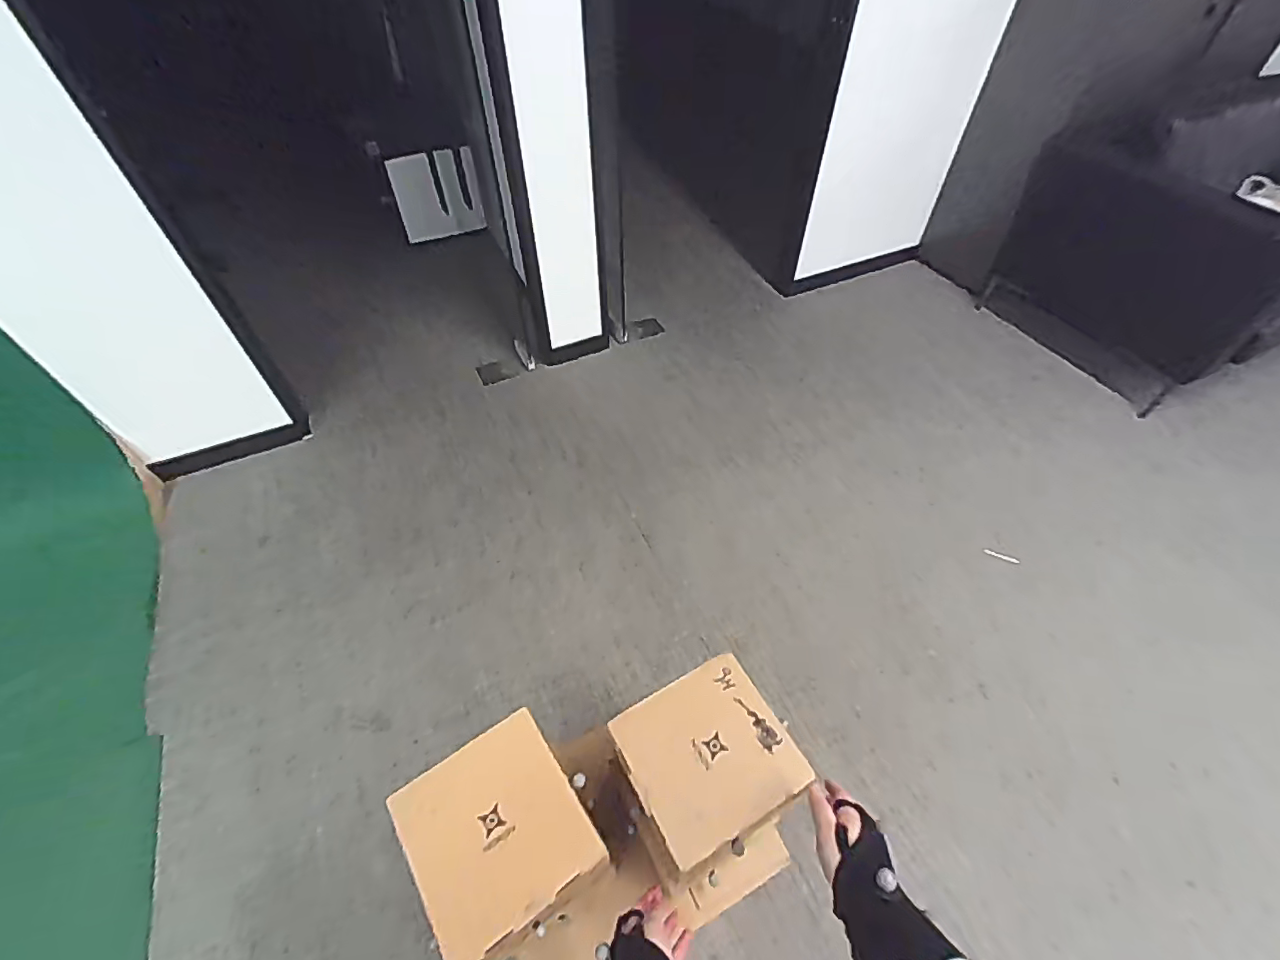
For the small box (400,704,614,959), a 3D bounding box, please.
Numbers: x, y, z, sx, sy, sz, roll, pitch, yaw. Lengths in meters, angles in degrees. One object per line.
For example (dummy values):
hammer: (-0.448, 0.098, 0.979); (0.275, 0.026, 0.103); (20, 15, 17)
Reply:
small box: (-0.144, 0.400, 0.620); (0.168, 0.176, 0.179); (-28, 57, -22)
